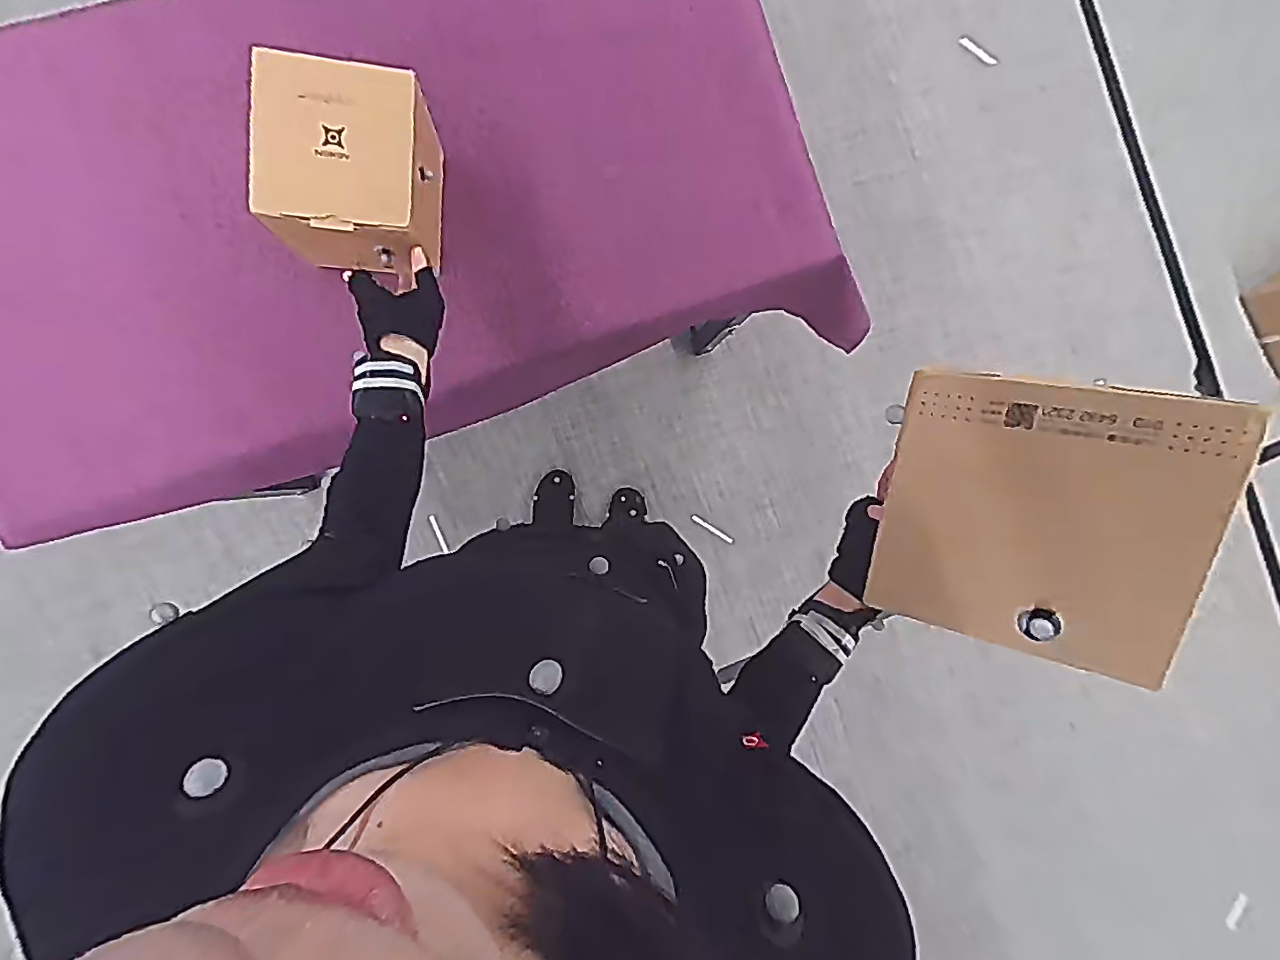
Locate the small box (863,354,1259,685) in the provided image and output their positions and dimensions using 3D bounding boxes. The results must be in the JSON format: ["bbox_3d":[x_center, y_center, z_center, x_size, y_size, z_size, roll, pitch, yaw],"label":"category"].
[{"bbox_3d":[0.274,0.004,0.390,0.168,0.179,0.176,13,108,27],"label":"small box"}]

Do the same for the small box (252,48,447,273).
[{"bbox_3d":[-0.344,-0.375,0.671,0.168,0.176,0.179,4,91,-8],"label":"small box"}]
